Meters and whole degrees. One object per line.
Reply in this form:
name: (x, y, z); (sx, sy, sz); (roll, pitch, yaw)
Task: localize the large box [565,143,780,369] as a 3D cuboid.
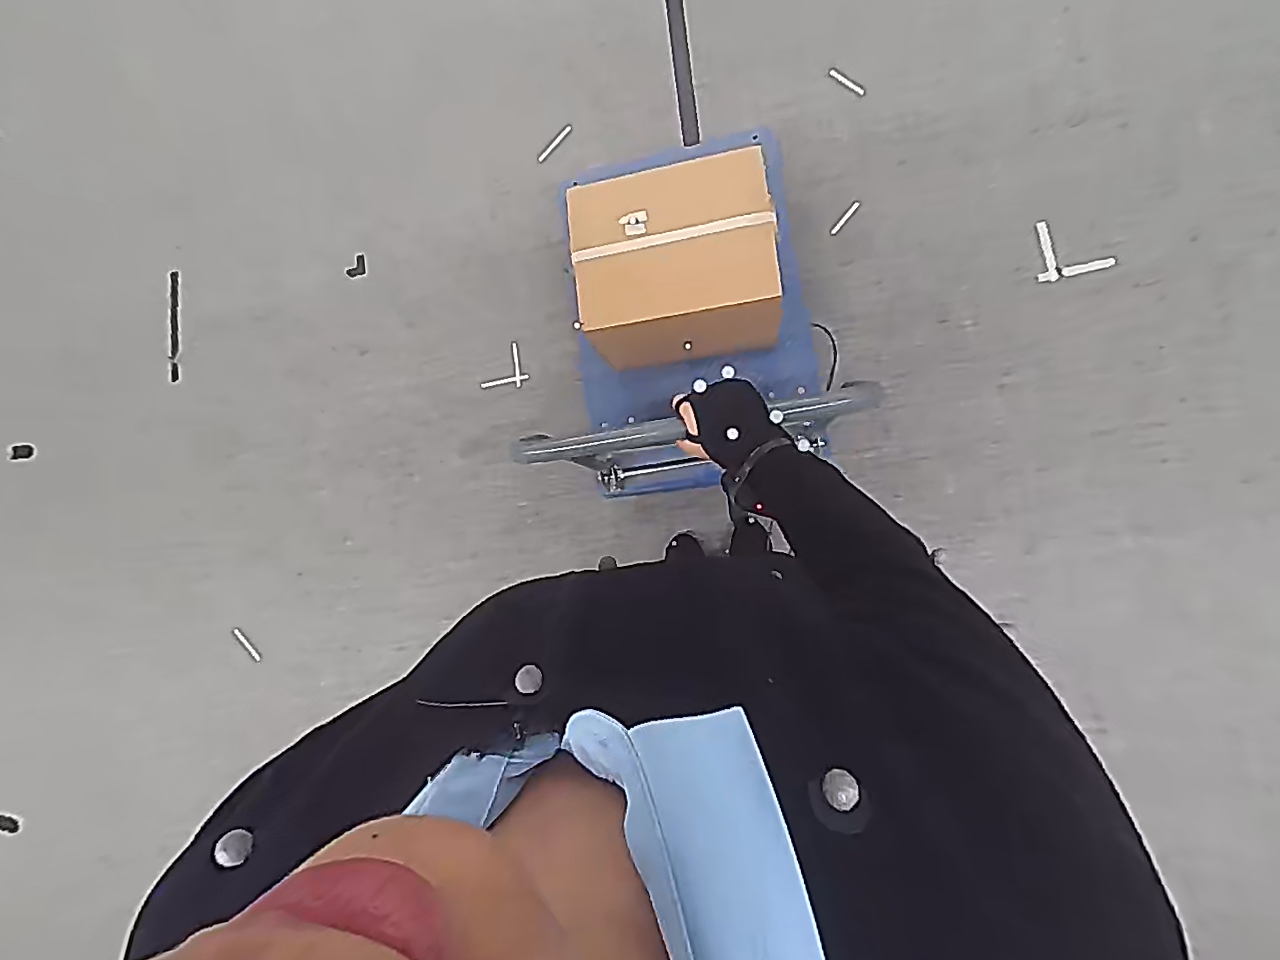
large box: (0.084, -0.465, 1.211); (0.408, 0.320, 0.320); (-8, 83, 11)
